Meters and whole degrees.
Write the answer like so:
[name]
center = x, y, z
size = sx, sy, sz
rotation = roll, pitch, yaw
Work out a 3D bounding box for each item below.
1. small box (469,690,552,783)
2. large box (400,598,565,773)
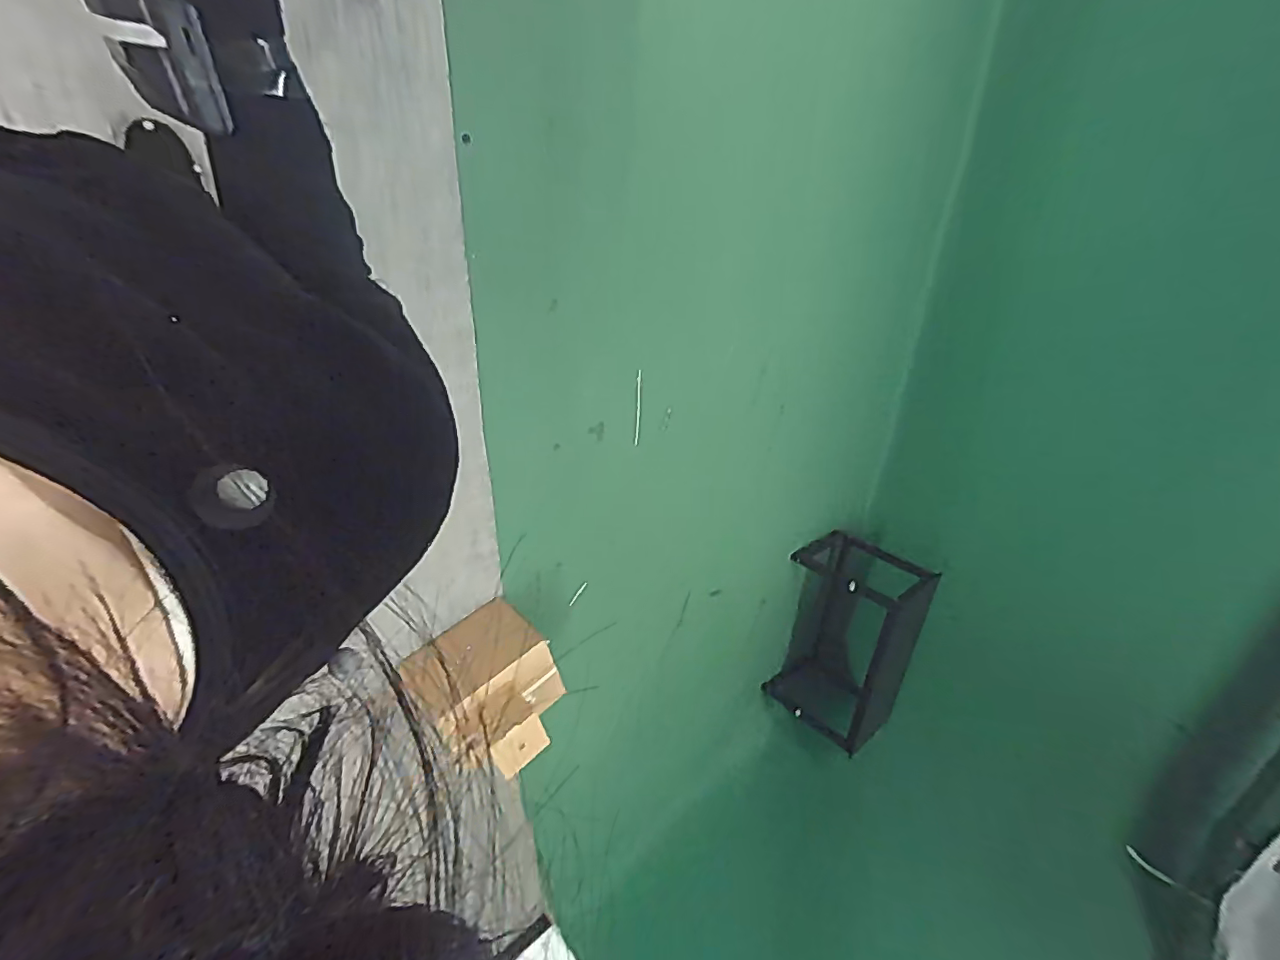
[small box]
center = -0.407, 0.791, 1.689
size = 0.168, 0.176, 0.179
rotation = -33, 129, -29
[large box]
center = -0.538, 0.697, 1.881
size = 0.408, 0.320, 0.320
rotation = -34, 132, -30
